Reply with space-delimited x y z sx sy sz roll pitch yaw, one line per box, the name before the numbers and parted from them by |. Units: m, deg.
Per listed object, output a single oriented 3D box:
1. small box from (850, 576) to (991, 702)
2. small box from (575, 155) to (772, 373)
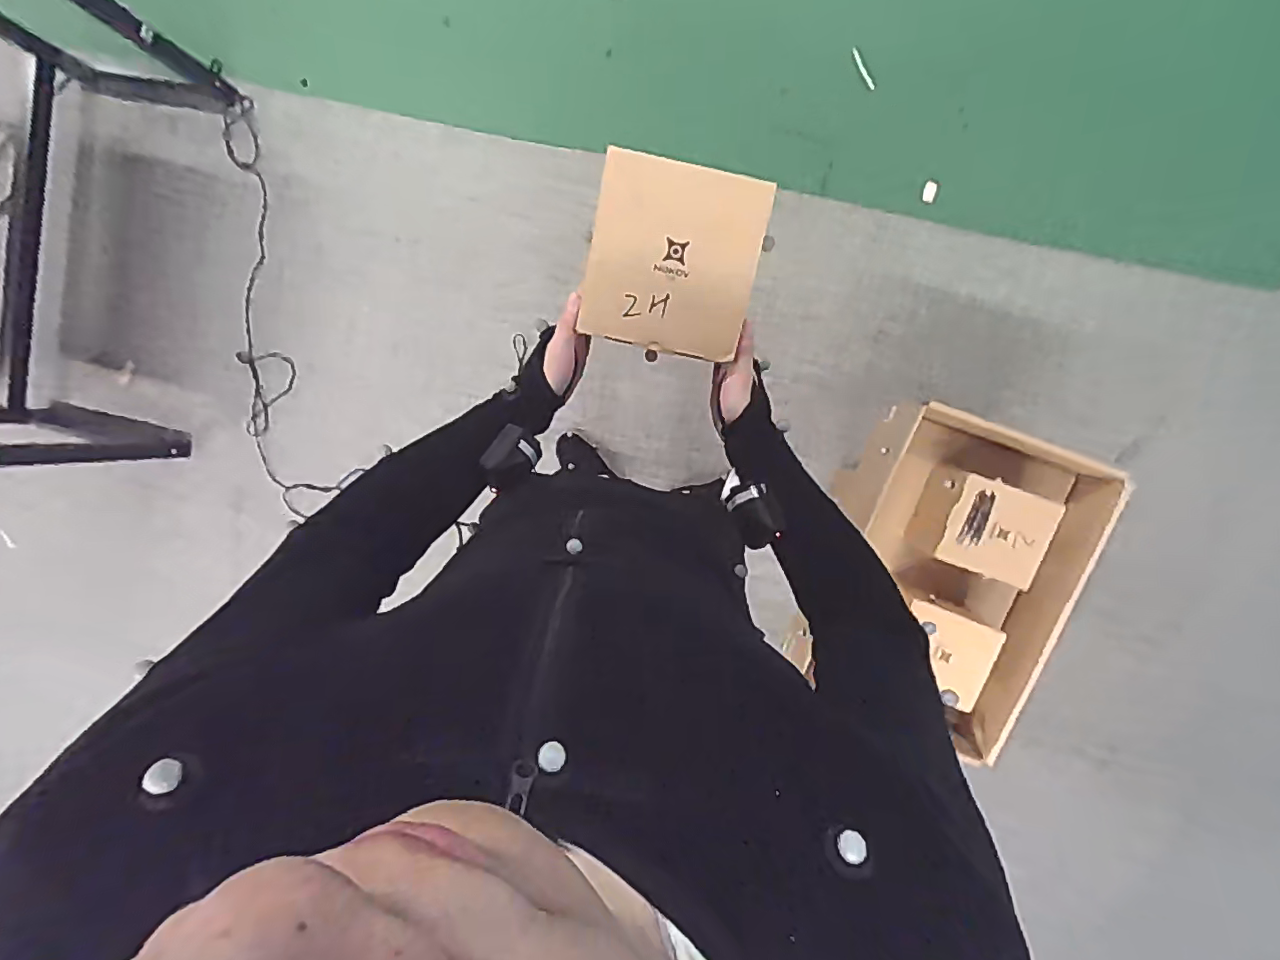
small box | 0.564 0.315 1.114 0.179 0.176 0.168 21 98 5
small box | 0.030 -0.229 0.613 0.168 0.176 0.179 12 105 -3
